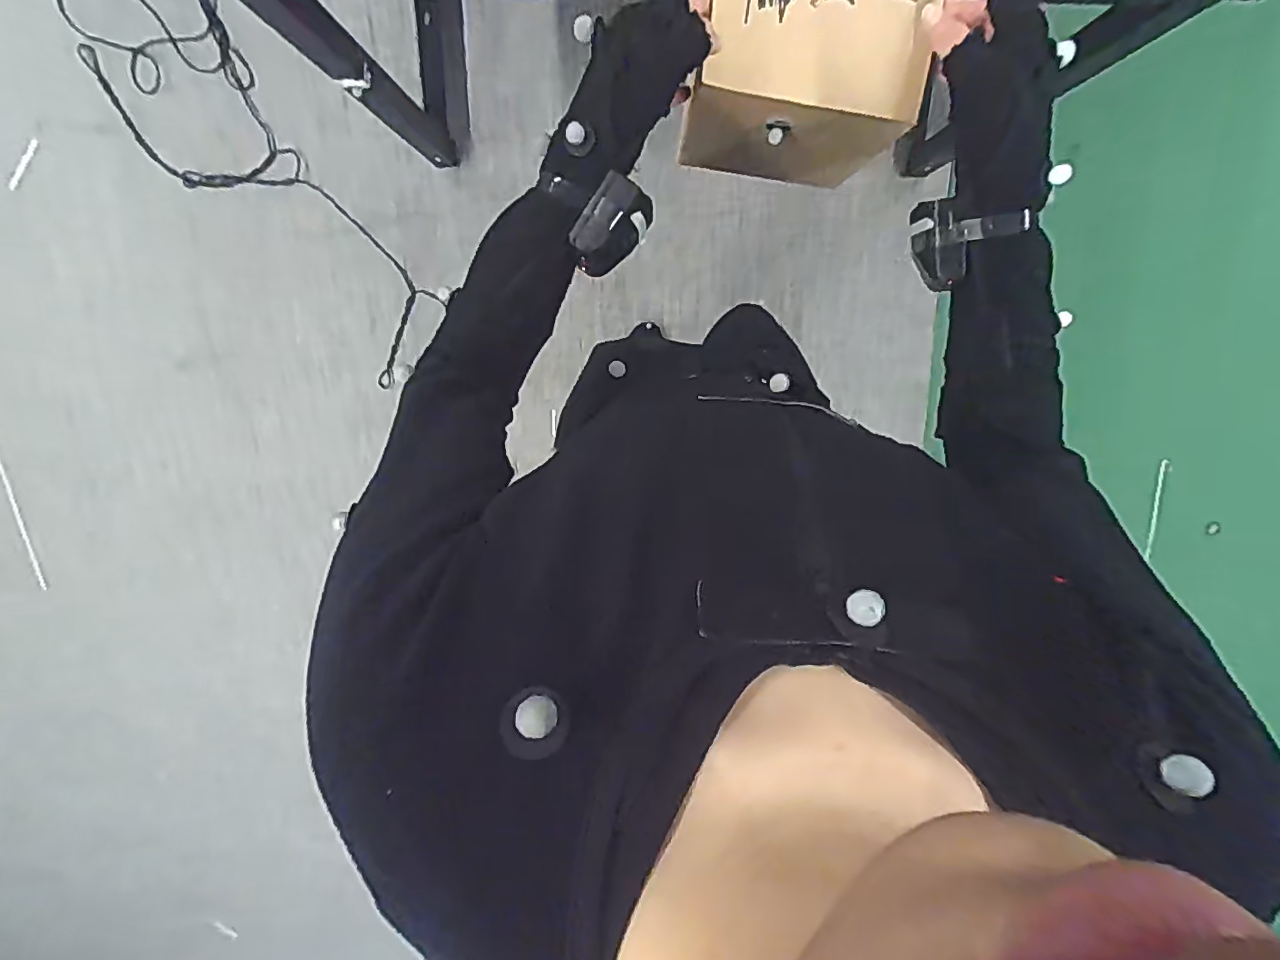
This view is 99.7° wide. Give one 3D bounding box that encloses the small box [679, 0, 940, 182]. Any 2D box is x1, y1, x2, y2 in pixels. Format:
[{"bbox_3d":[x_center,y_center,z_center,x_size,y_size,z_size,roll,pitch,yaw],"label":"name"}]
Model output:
[{"bbox_3d":[0.135,-0.385,0.475,0.179,0.176,0.168,8,102,-4],"label":"small box"}]
